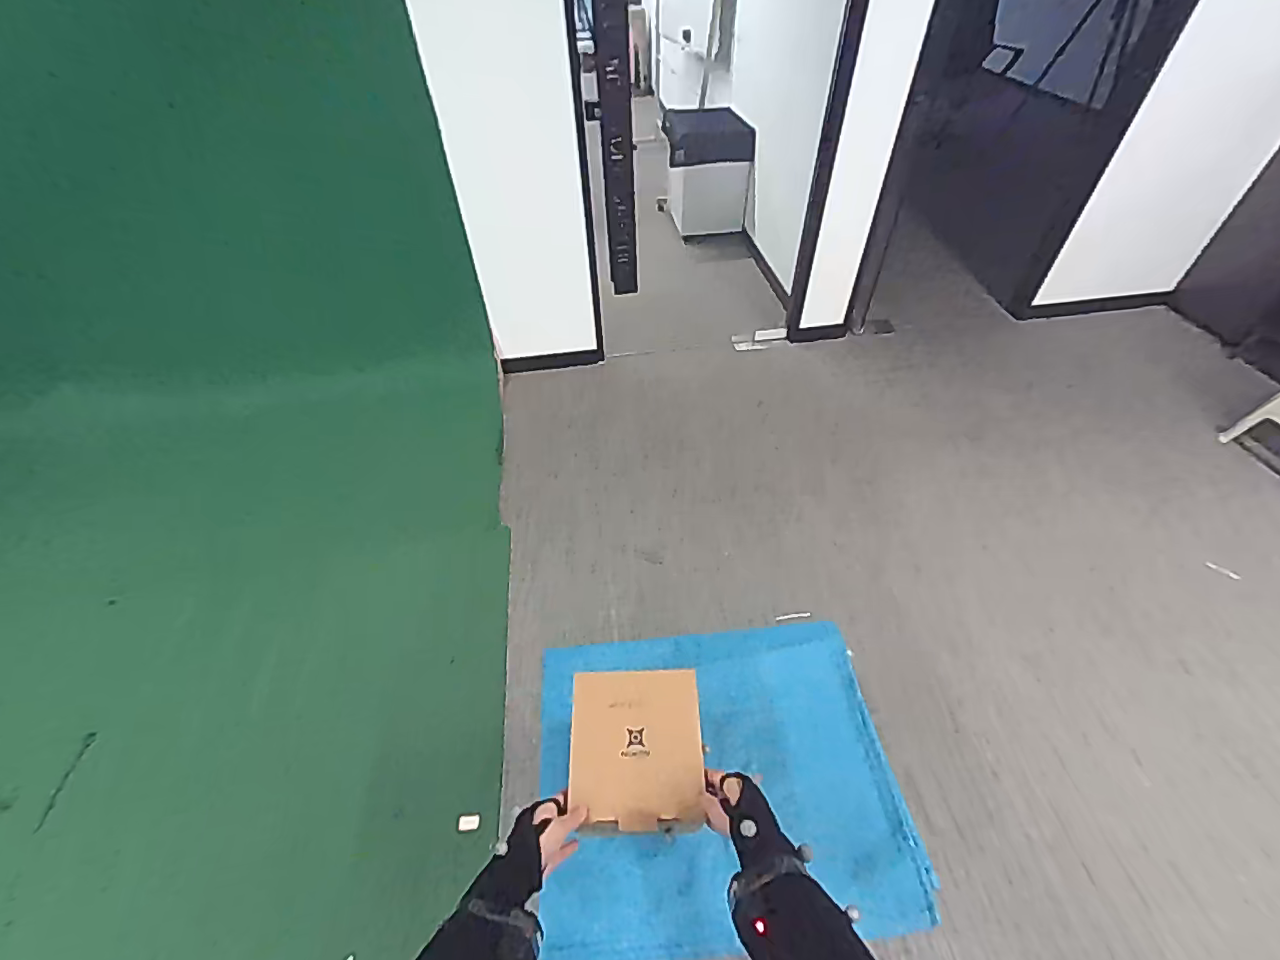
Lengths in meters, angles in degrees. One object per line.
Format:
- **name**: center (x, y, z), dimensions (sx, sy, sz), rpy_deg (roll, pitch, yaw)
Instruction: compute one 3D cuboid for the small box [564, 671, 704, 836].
- **small box**: center (-0.005, 0.372, 0.730), dimensions (0.168, 0.176, 0.179), rpy_deg (-1, 51, 0)
